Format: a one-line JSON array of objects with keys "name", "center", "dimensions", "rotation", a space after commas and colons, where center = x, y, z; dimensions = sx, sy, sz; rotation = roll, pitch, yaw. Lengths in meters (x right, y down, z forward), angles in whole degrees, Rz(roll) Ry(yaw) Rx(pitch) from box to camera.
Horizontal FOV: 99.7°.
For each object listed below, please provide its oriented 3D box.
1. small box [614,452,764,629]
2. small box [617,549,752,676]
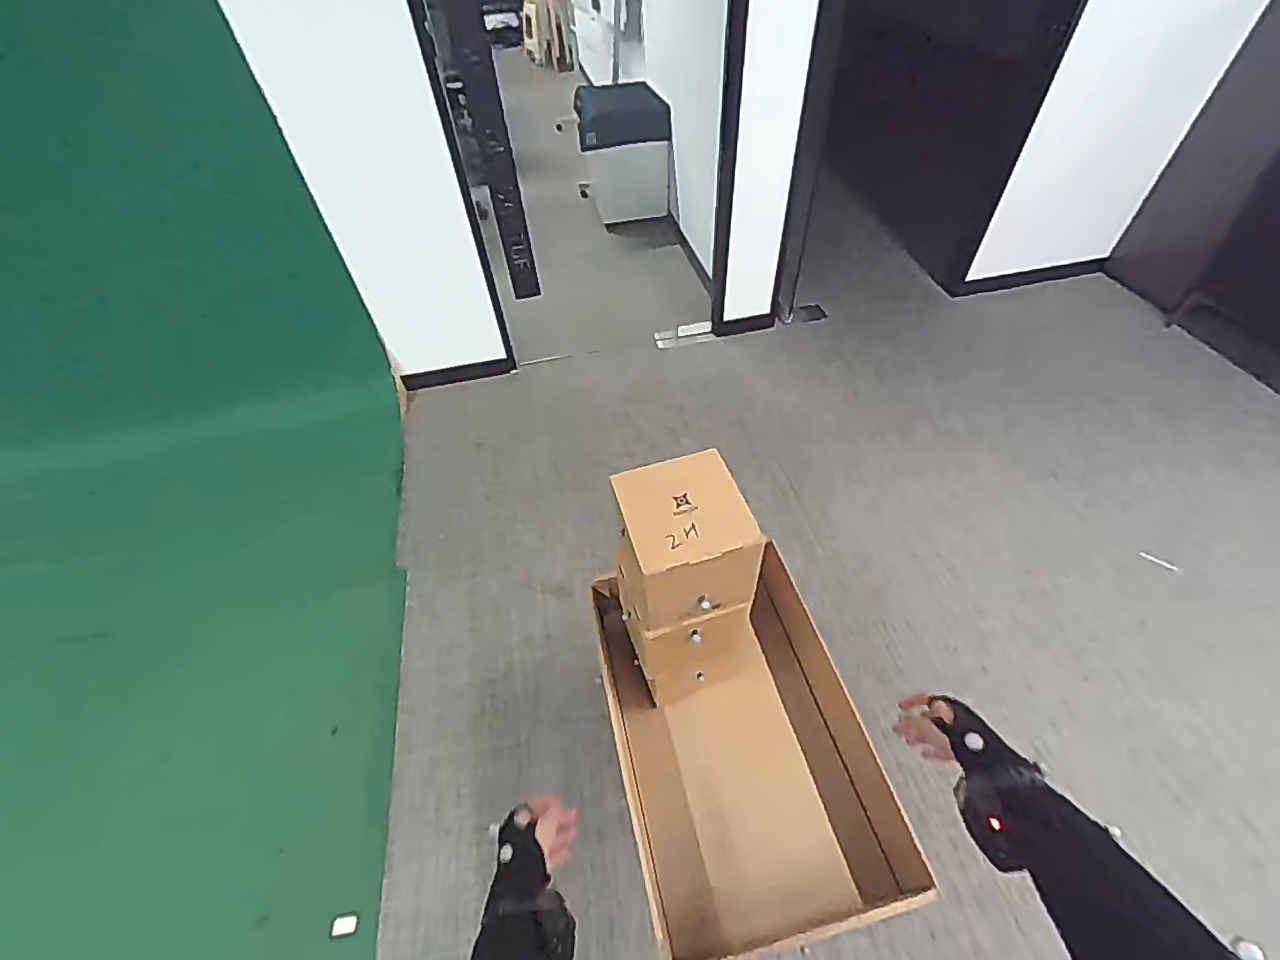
[{"name": "small box", "center": [0.064, 0.090, 0.799], "dimensions": [0.168, 0.176, 0.179], "rotation": [-14, 51, -7]}, {"name": "small box", "center": [0.070, 0.206, 0.917], "dimensions": [0.179, 0.176, 0.168], "rotation": [-16, 51, -8]}]
